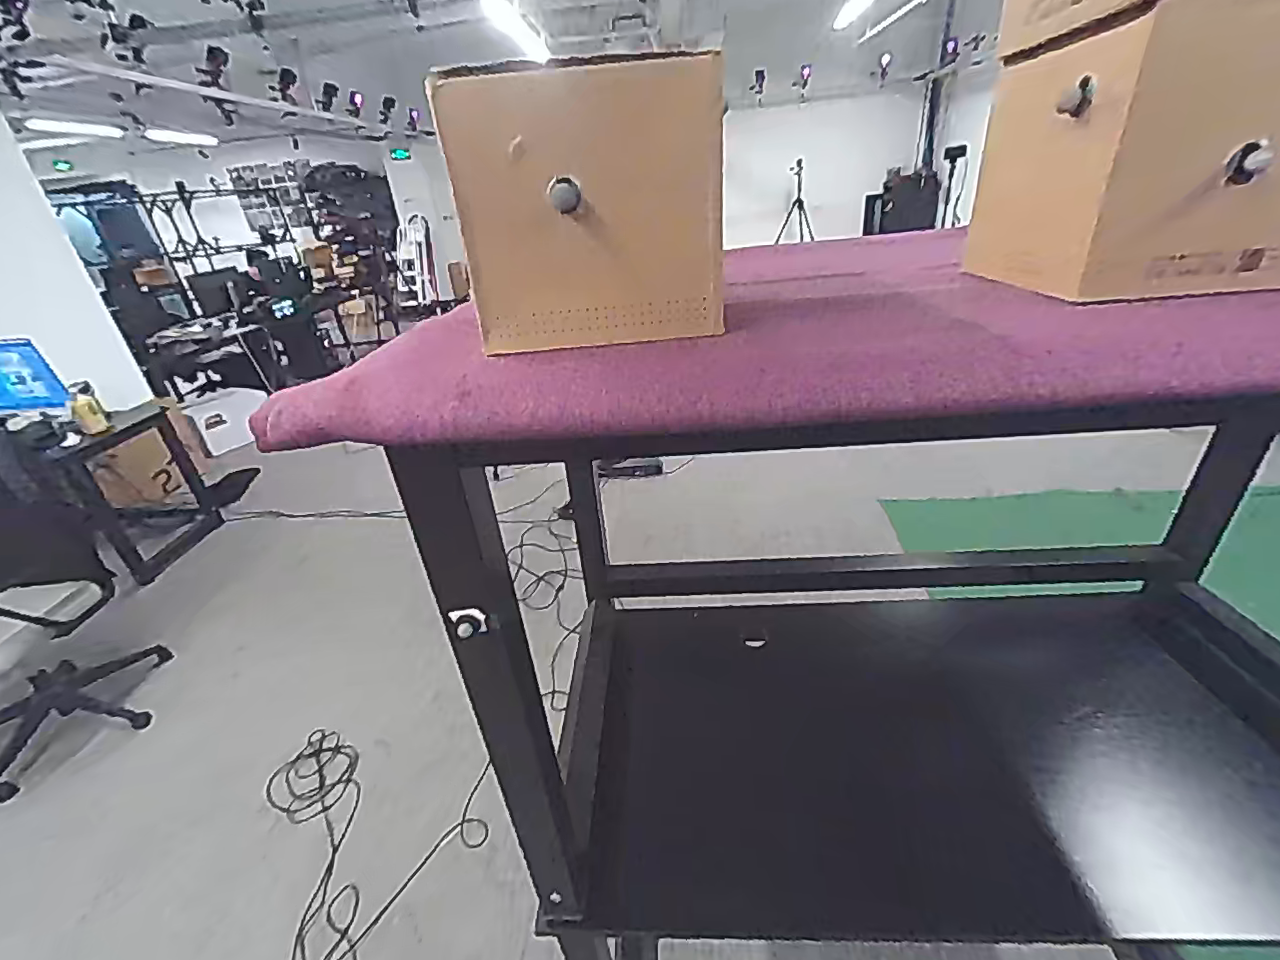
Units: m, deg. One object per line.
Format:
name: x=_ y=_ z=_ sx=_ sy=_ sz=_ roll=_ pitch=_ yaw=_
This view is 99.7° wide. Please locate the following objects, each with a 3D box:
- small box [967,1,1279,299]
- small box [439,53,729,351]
small box: x=0.385 y=-0.237 z=0.413 sx=0.168 sy=0.176 sz=0.179 roll=-2 pitch=28 yaw=5
small box: x=-0.030 y=-0.207 z=0.427 sx=0.179 sy=0.176 sz=0.168 roll=-5 pitch=30 yaw=0
